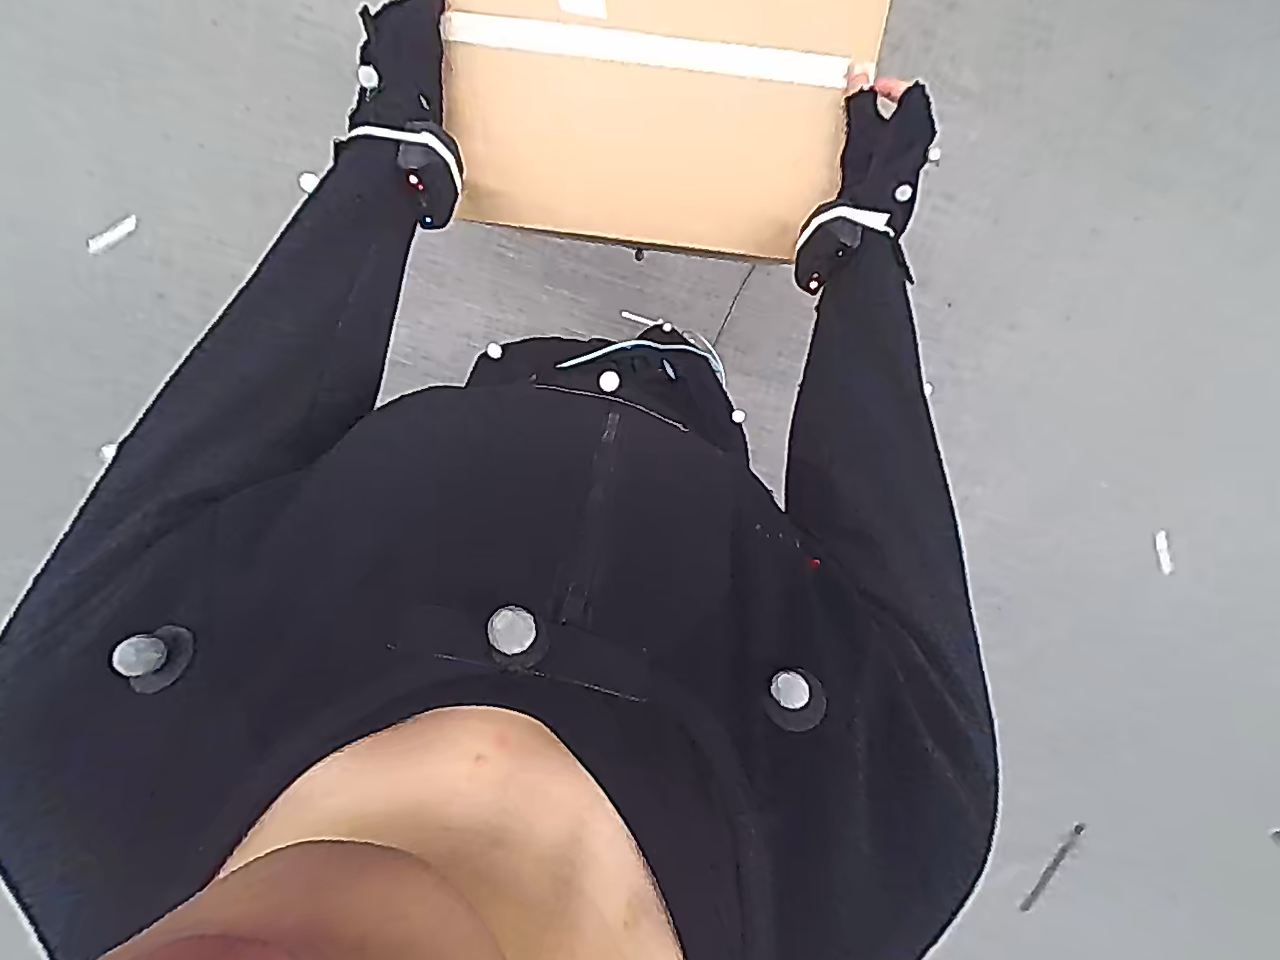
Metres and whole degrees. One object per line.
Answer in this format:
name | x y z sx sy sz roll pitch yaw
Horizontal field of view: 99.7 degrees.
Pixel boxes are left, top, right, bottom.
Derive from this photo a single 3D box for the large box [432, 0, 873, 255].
large box | 0.013 -0.450 0.636 0.408 0.320 0.320 7 111 0
